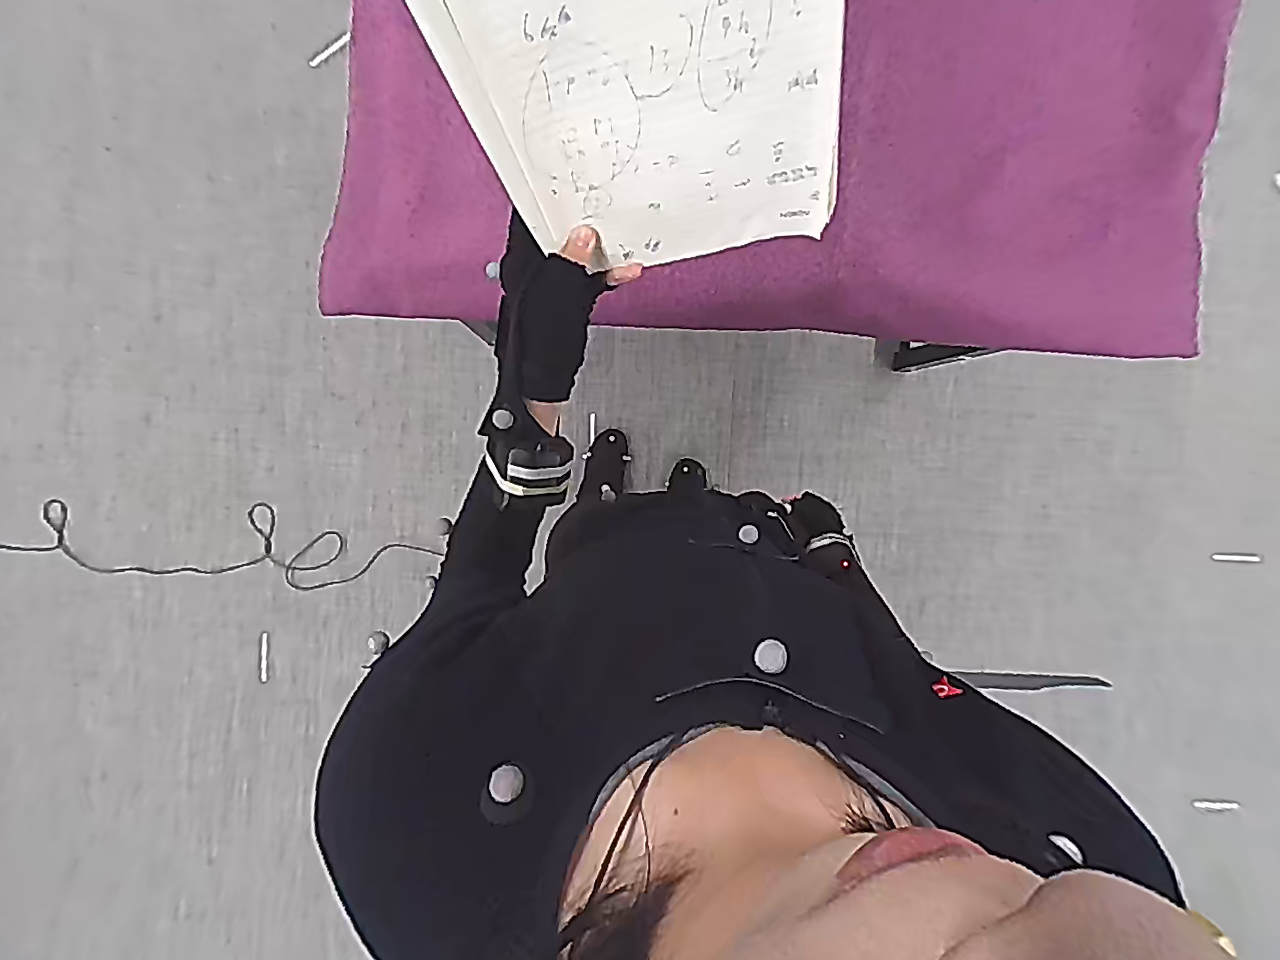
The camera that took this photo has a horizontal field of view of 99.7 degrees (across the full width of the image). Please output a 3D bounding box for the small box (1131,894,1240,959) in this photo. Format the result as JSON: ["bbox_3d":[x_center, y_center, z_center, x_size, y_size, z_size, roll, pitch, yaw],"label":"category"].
[{"bbox_3d":[1.658,1.423,1.642,0.168,0.176,0.179,-20,94,-2],"label":"small box"}]
